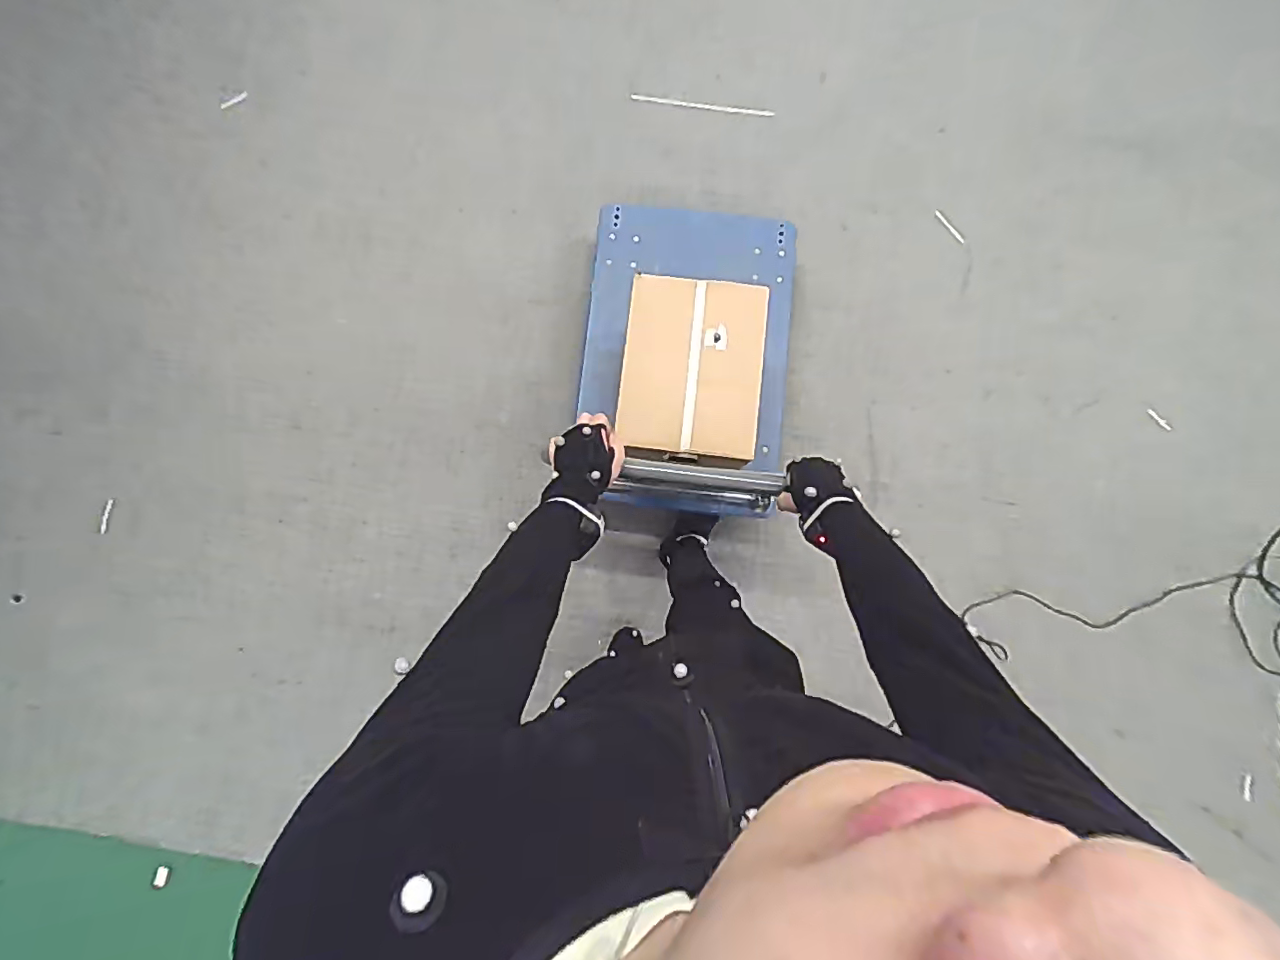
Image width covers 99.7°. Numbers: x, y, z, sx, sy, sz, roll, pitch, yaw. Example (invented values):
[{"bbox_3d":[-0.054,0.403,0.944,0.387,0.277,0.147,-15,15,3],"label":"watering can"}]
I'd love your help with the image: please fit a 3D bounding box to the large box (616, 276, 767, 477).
[{"bbox_3d":[0.120,-0.234,1.347,0.320,0.320,0.408,6,81,1],"label":"large box"}]
